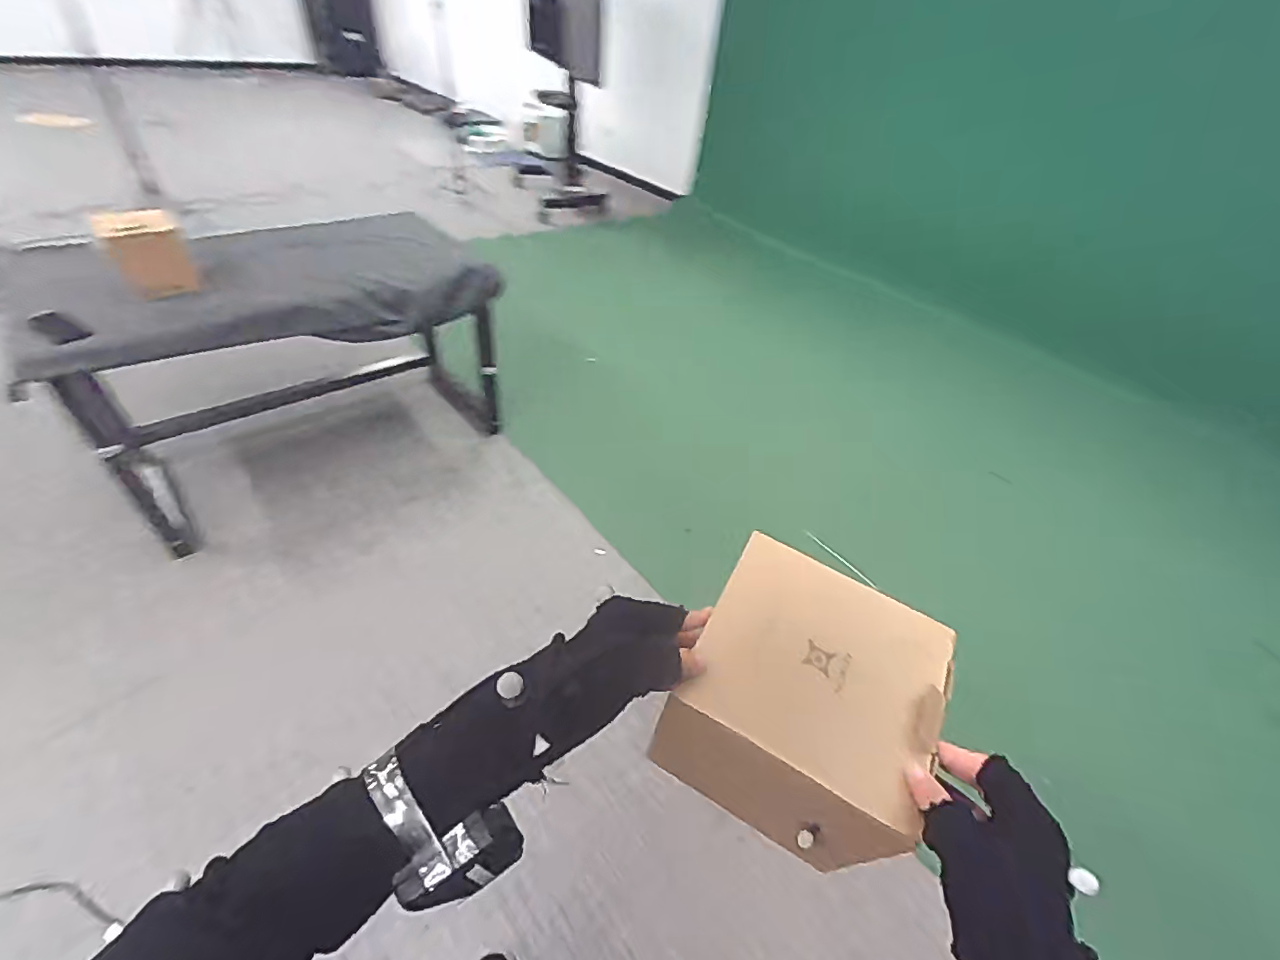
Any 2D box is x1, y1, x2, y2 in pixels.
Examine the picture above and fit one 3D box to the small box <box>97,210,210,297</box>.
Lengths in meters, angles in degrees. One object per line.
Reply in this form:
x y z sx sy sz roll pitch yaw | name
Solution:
-1.312 -0.610 1.467 0.168 0.176 0.179 -28 52 -34 | small box
